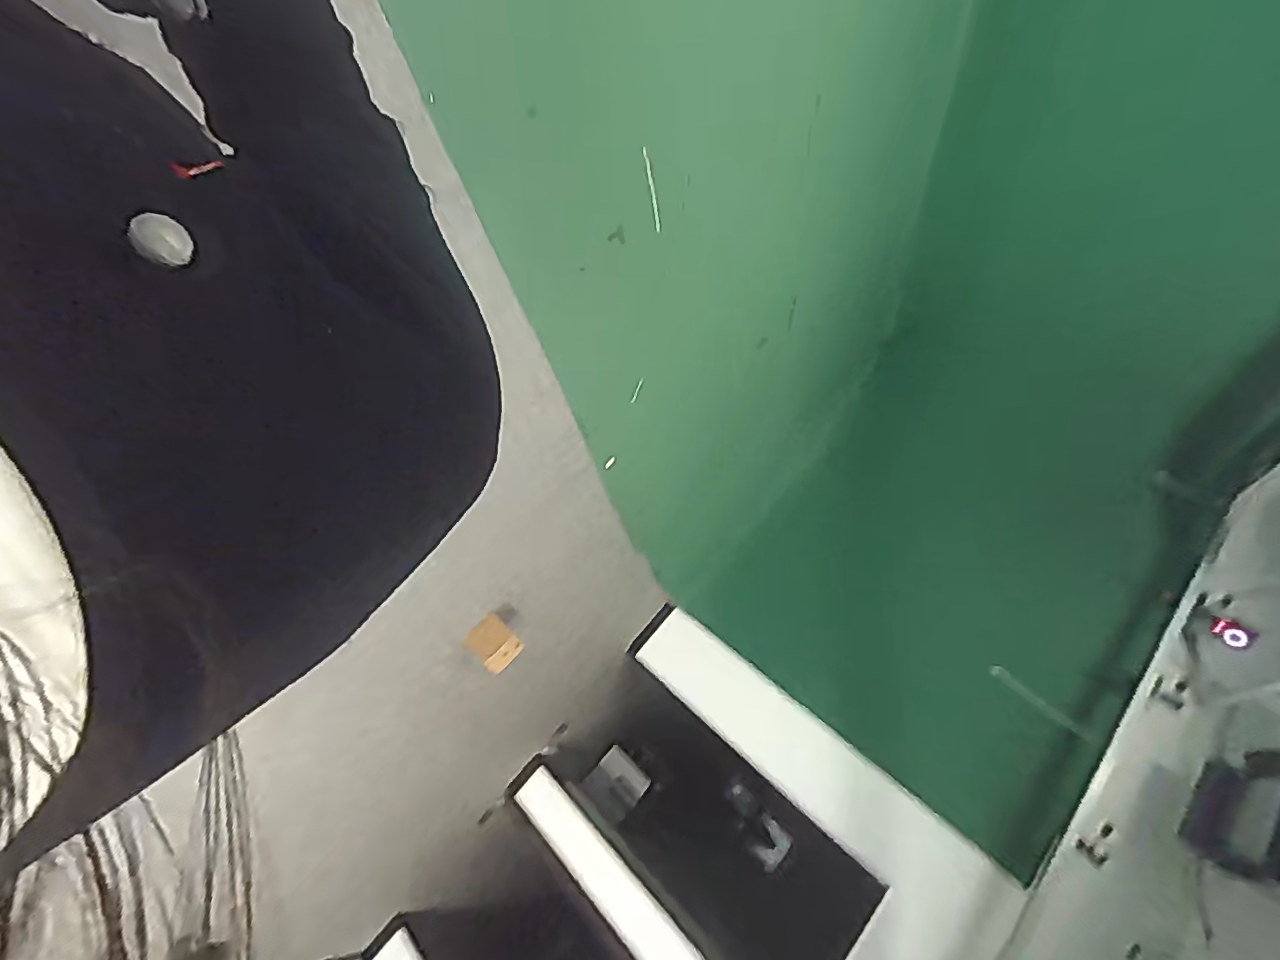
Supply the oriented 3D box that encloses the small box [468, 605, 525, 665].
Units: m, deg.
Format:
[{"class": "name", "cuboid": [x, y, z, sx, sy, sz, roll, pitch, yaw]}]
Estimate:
[{"class": "small box", "cuboid": [-0.674, 0.716, 2.511, 0.179, 0.176, 0.168, -44, 149, -20]}]
